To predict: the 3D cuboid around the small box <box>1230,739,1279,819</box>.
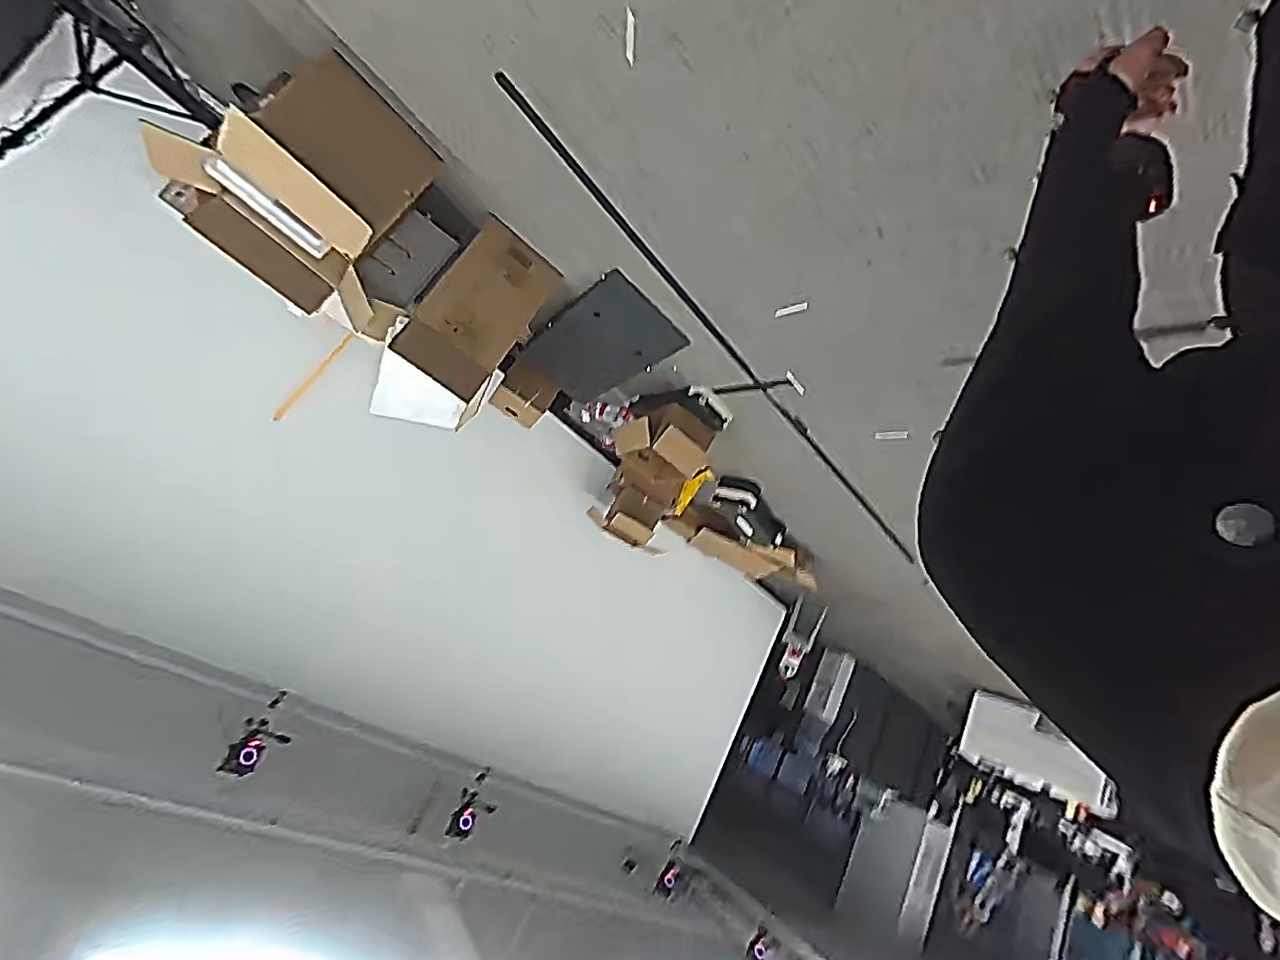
[{"bbox_3d":[1.904,0.905,1.618,0.168,0.176,0.179,41,157,-32],"label":"small box"}]
